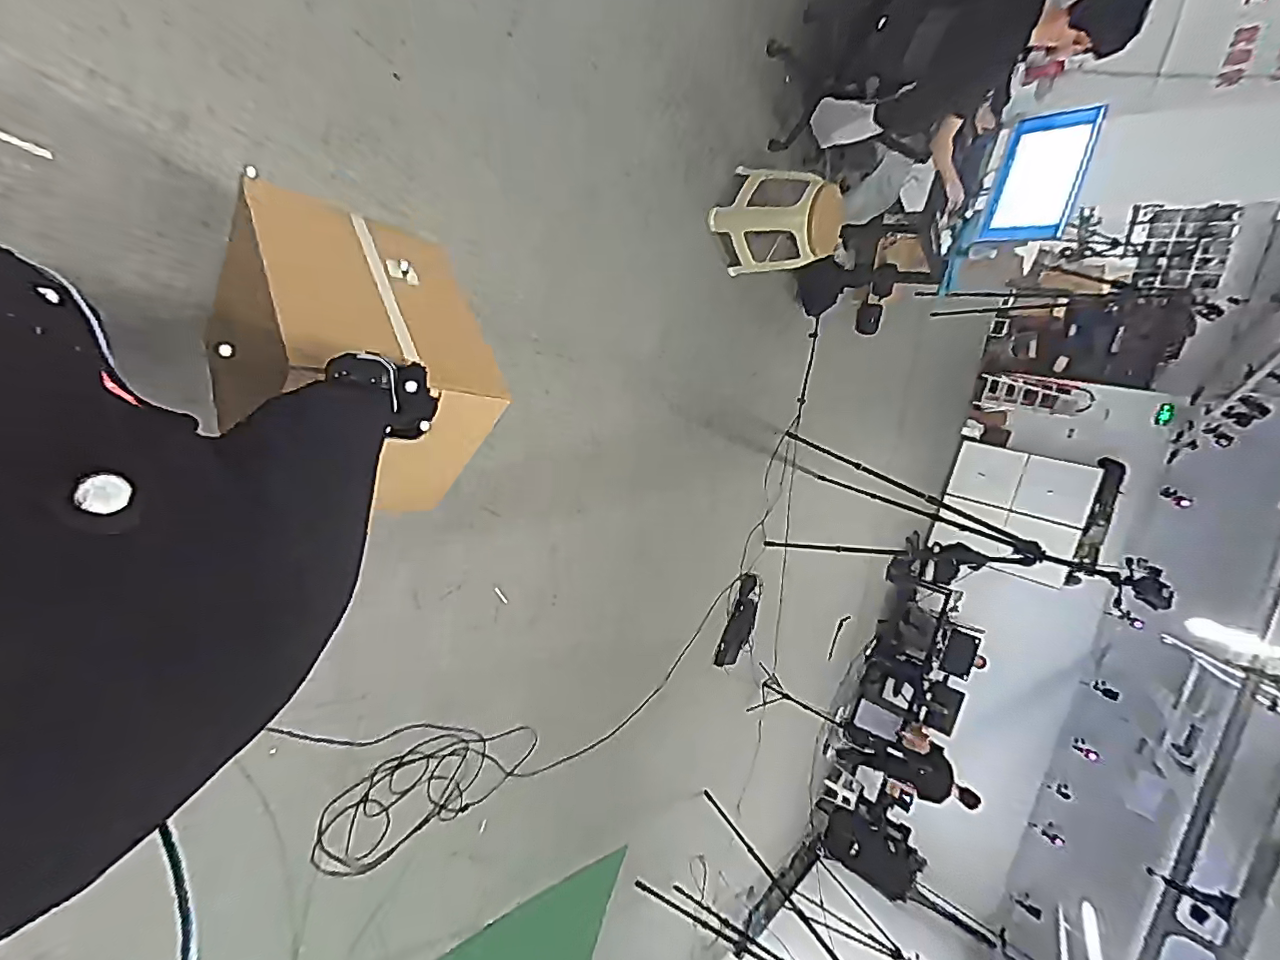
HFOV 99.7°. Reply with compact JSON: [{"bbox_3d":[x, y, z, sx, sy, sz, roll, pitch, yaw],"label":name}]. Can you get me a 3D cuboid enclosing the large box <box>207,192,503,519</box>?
[{"bbox_3d":[-0.499,-0.186,0.920,0.320,0.408,0.320,2,140,-49],"label":"large box"}]
